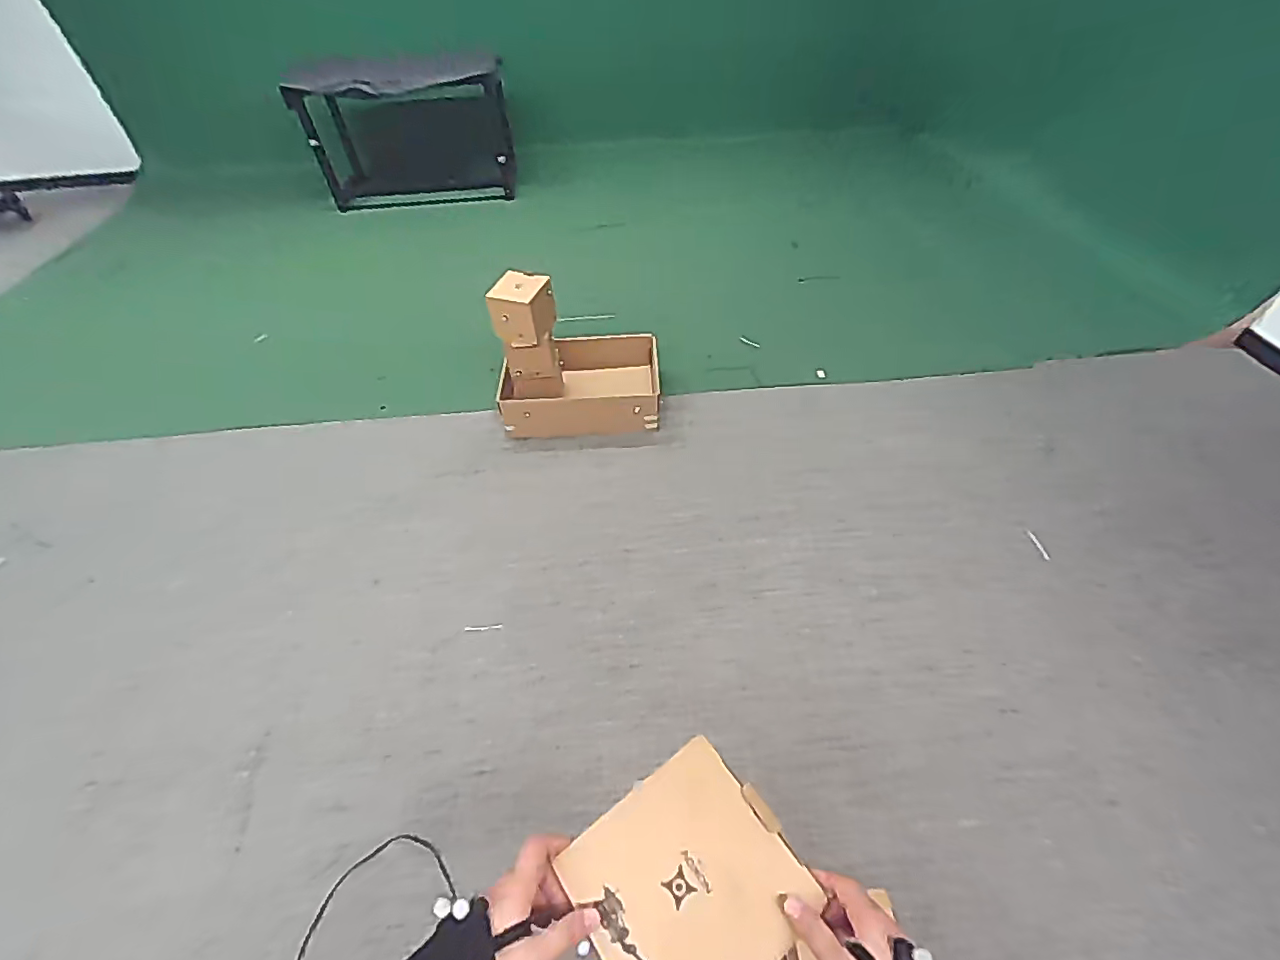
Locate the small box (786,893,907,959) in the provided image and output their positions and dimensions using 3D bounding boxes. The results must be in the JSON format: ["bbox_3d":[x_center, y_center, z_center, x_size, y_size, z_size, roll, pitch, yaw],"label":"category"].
[{"bbox_3d":[0.339,0.816,0.913,0.179,0.176,0.168,-6,47,-2],"label":"small box"}]

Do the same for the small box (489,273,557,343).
[{"bbox_3d":[-0.405,-0.606,1.913,0.168,0.176,0.179,13,50,13],"label":"small box"}]

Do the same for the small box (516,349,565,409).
[{"bbox_3d":[-0.395,-0.404,2.170,0.168,0.176,0.179,-5,49,-2],"label":"small box"}]

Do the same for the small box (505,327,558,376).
[{"bbox_3d":[-0.404,-0.504,2.039,0.168,0.176,0.179,-3,48,-2],"label":"small box"}]

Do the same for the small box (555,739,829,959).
[{"bbox_3d":[0.040,0.388,0.515,0.179,0.176,0.168,-30,57,-22],"label":"small box"}]
